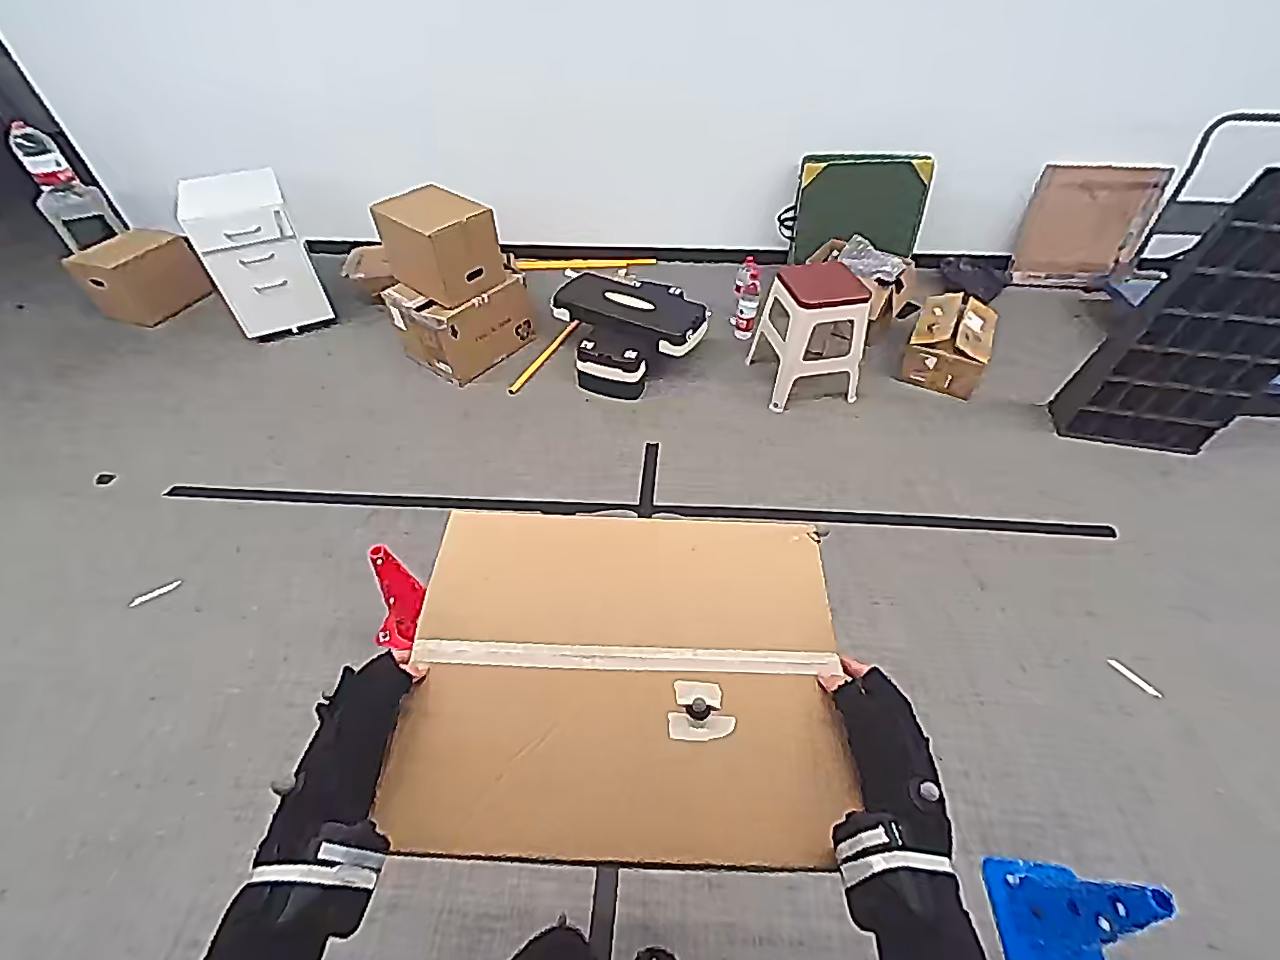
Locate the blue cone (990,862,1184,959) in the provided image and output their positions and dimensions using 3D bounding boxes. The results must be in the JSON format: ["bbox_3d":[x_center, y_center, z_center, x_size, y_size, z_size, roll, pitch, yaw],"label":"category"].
[{"bbox_3d":[0.860,0.820,1.024,0.192,0.380,0.193,6,48,5],"label":"blue cone"}]

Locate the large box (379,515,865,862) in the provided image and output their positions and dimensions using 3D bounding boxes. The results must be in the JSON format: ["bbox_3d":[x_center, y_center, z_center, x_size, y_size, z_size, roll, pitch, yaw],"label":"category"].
[{"bbox_3d":[-0.016,0.257,0.641,0.408,0.320,0.320,3,54,0],"label":"large box"}]

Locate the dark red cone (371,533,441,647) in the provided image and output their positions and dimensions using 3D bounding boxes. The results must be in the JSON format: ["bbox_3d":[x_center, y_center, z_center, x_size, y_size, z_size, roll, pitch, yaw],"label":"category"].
[{"bbox_3d":[-0.654,0.281,1.480,0.201,0.394,0.202,8,48,6],"label":"dark red cone"}]
